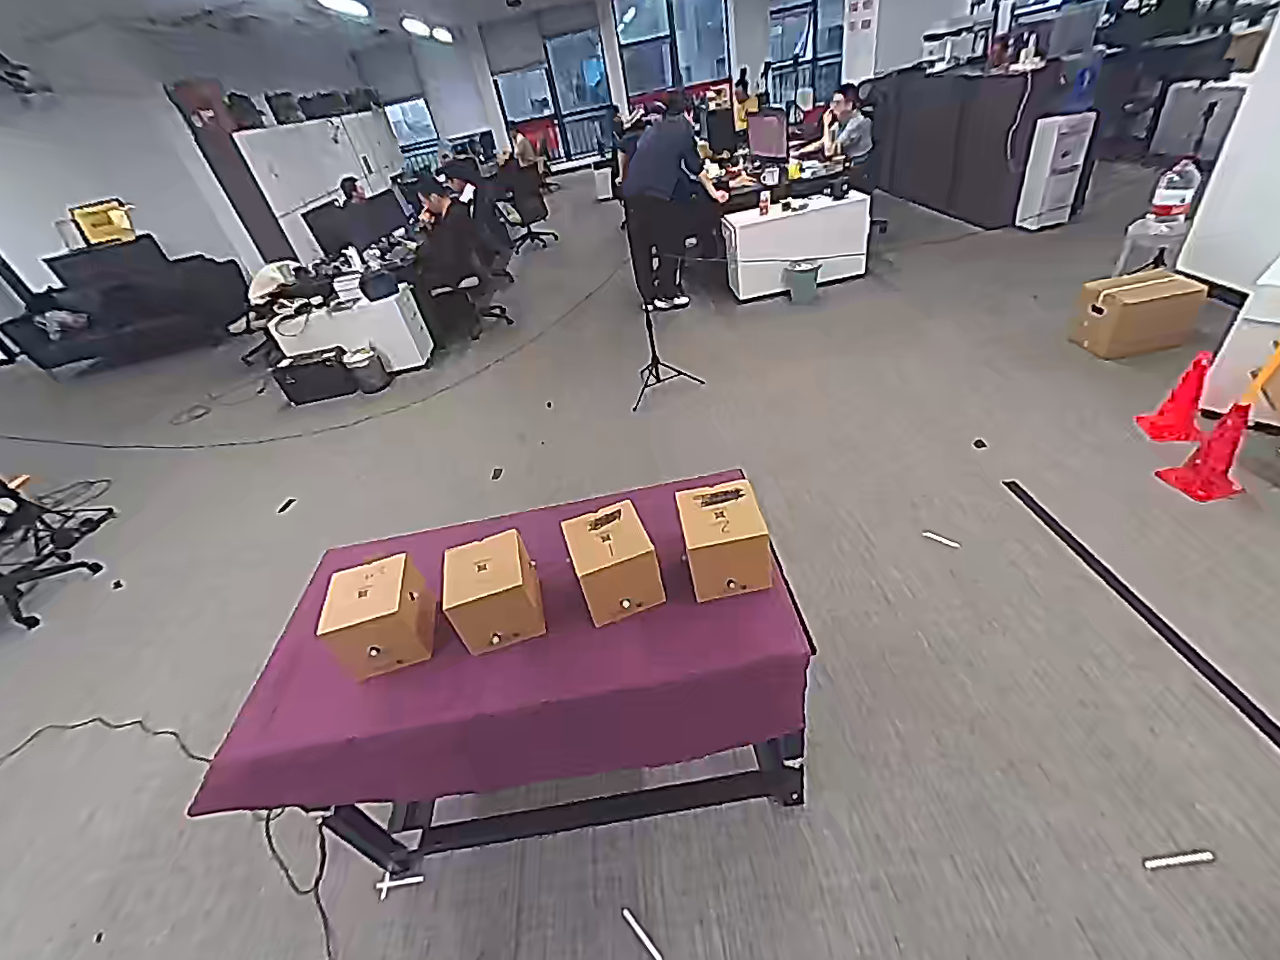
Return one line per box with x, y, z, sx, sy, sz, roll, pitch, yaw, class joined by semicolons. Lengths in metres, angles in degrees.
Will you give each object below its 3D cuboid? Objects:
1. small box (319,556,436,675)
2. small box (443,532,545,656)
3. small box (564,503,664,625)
-0.563;0.303;1.189;0.168;0.176;0.179;-16;37;-5;small box
-0.316;0.249;1.188;0.168;0.176;0.179;-18;37;-5;small box
-0.057;0.185;1.193;0.168;0.176;0.179;-19;38;-8;small box
